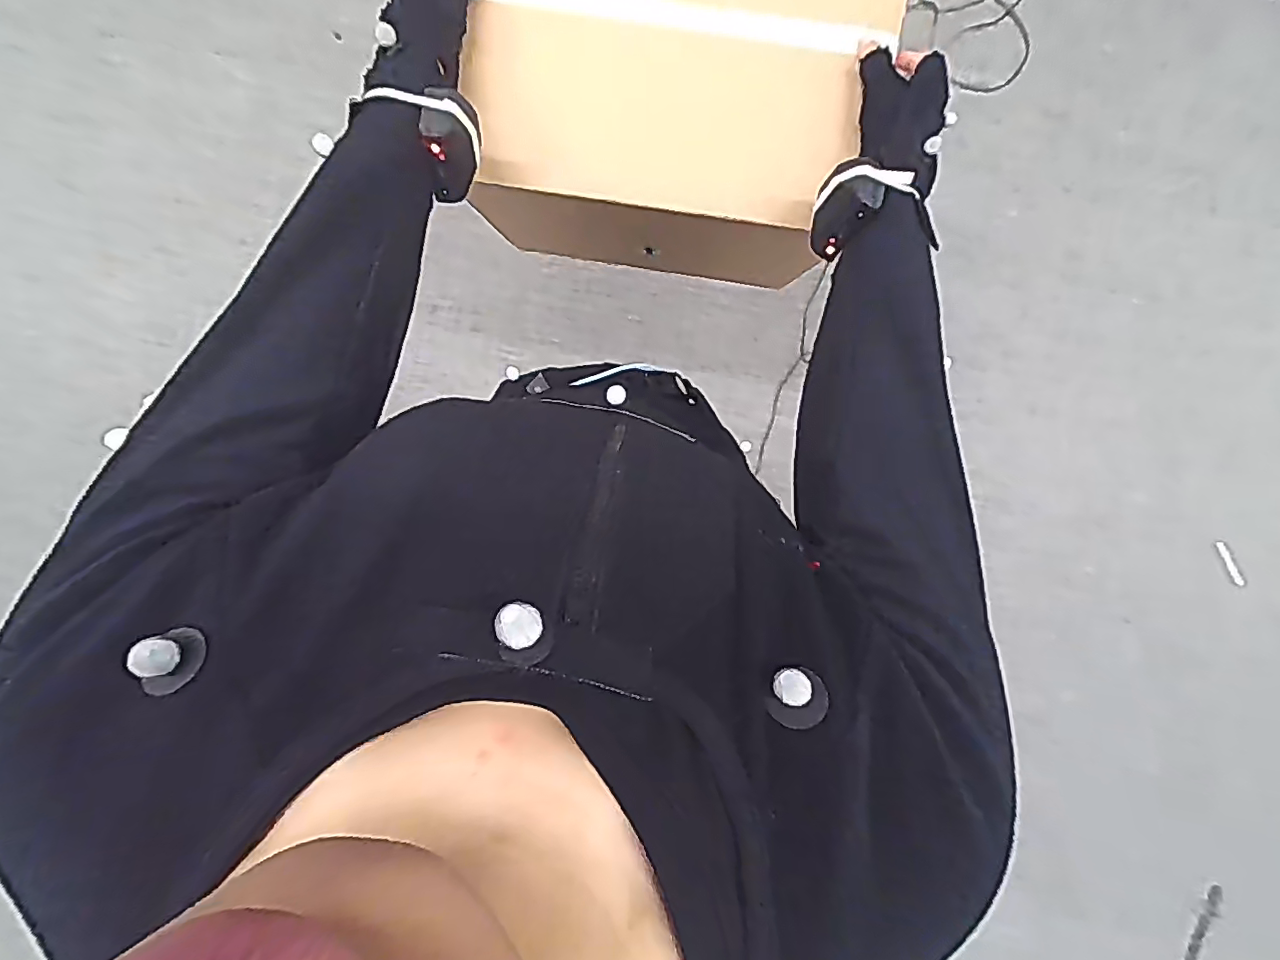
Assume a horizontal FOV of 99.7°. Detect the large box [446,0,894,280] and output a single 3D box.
[{"bbox_3d":[0.032,-0.441,0.641,0.408,0.320,0.320,8,100,0],"label":"large box"}]
